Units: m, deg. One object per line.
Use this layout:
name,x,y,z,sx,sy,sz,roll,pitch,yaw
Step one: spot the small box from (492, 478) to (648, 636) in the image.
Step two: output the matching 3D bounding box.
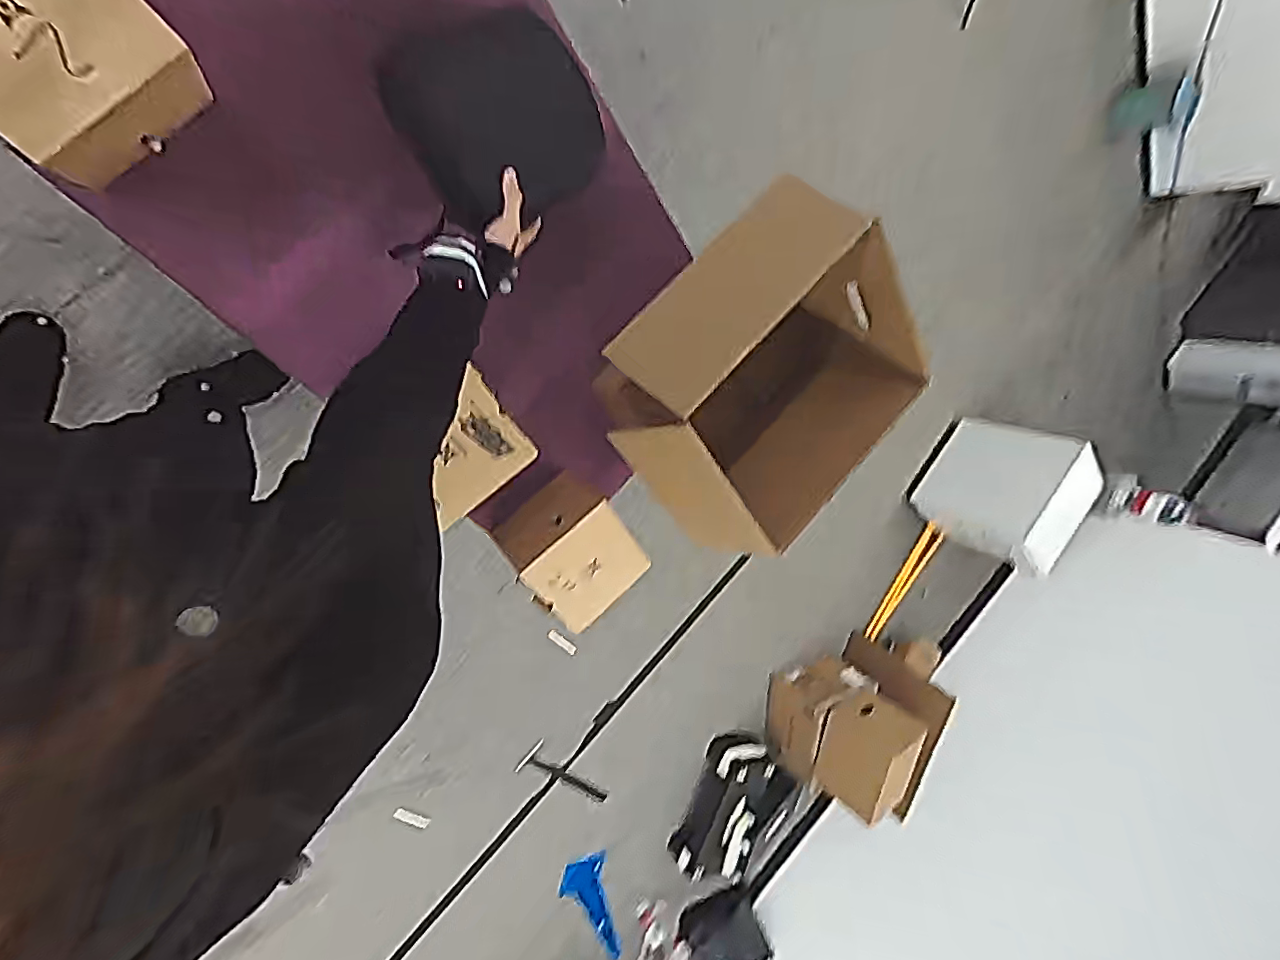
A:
small box,-0.125,0.122,0.929,0.179,0.176,0.168,-41,122,-13
